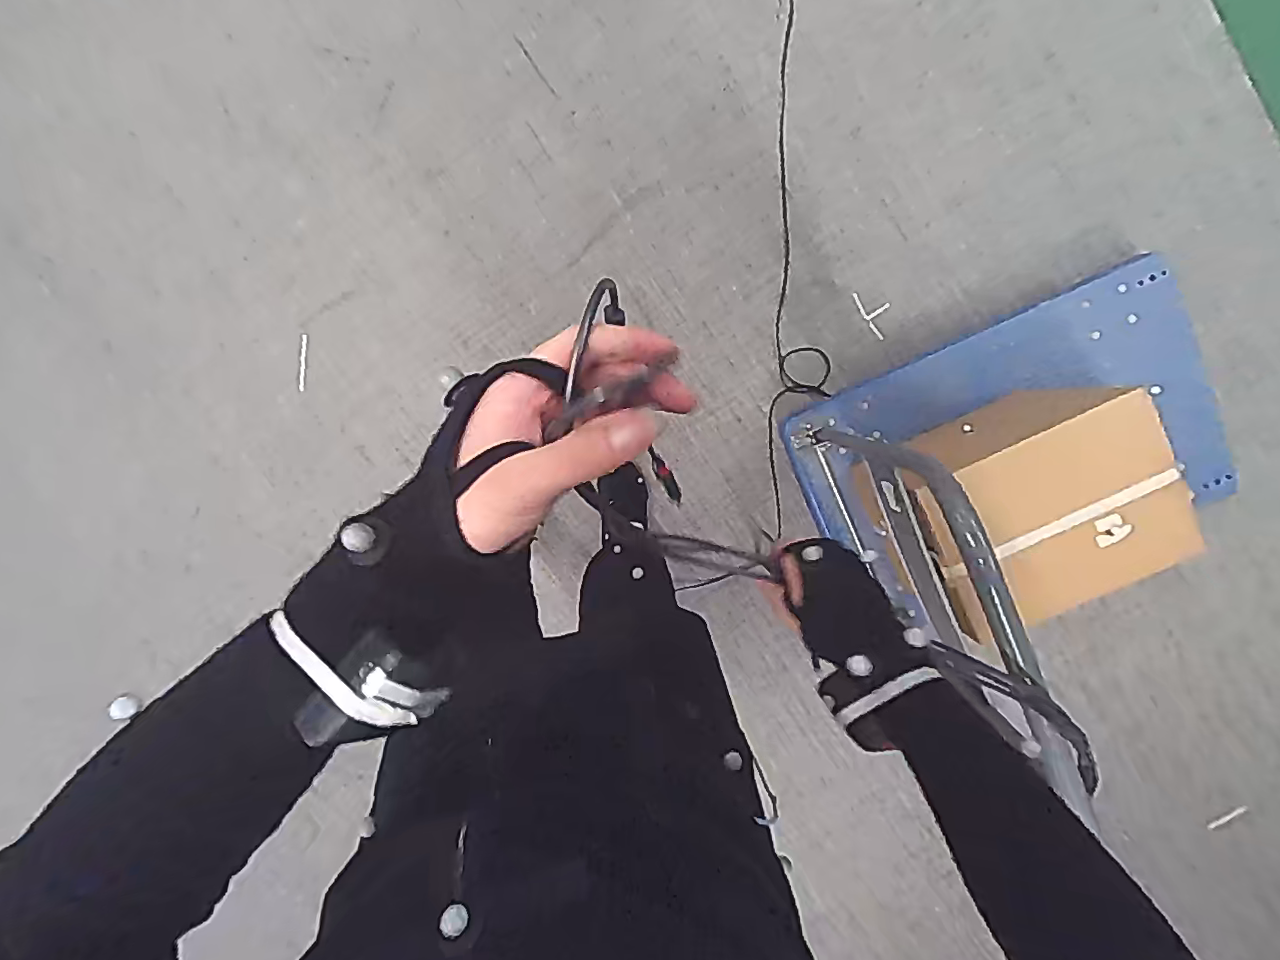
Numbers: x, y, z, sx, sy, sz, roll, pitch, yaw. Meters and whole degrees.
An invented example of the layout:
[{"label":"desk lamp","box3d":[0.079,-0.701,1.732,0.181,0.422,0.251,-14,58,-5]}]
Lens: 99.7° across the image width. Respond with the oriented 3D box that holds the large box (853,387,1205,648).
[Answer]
[{"label":"large box","box3d":[0.707,0.053,1.050,0.408,0.320,0.320,-26,97,4]}]
